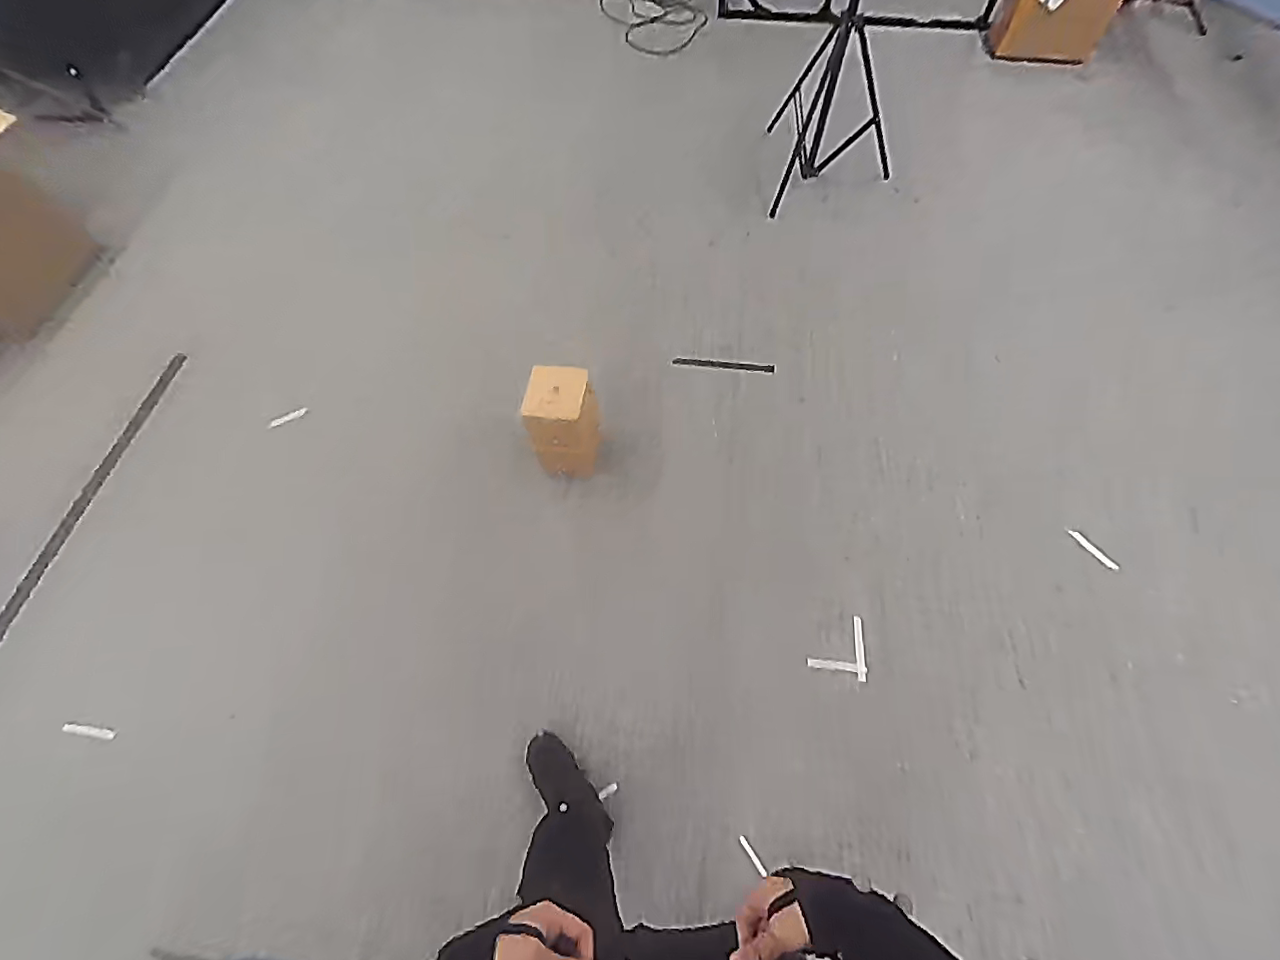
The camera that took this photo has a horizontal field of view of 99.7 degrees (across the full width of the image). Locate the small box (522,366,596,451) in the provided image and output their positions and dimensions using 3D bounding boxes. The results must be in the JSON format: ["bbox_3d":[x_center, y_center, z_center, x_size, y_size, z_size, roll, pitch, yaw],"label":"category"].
[{"bbox_3d":[-0.228,-0.207,1.574,0.168,0.176,0.179,6,63,6],"label":"small box"}]

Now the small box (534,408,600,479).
[{"bbox_3d":[-0.224,-0.124,1.716,0.168,0.176,0.179,6,63,6],"label":"small box"}]
